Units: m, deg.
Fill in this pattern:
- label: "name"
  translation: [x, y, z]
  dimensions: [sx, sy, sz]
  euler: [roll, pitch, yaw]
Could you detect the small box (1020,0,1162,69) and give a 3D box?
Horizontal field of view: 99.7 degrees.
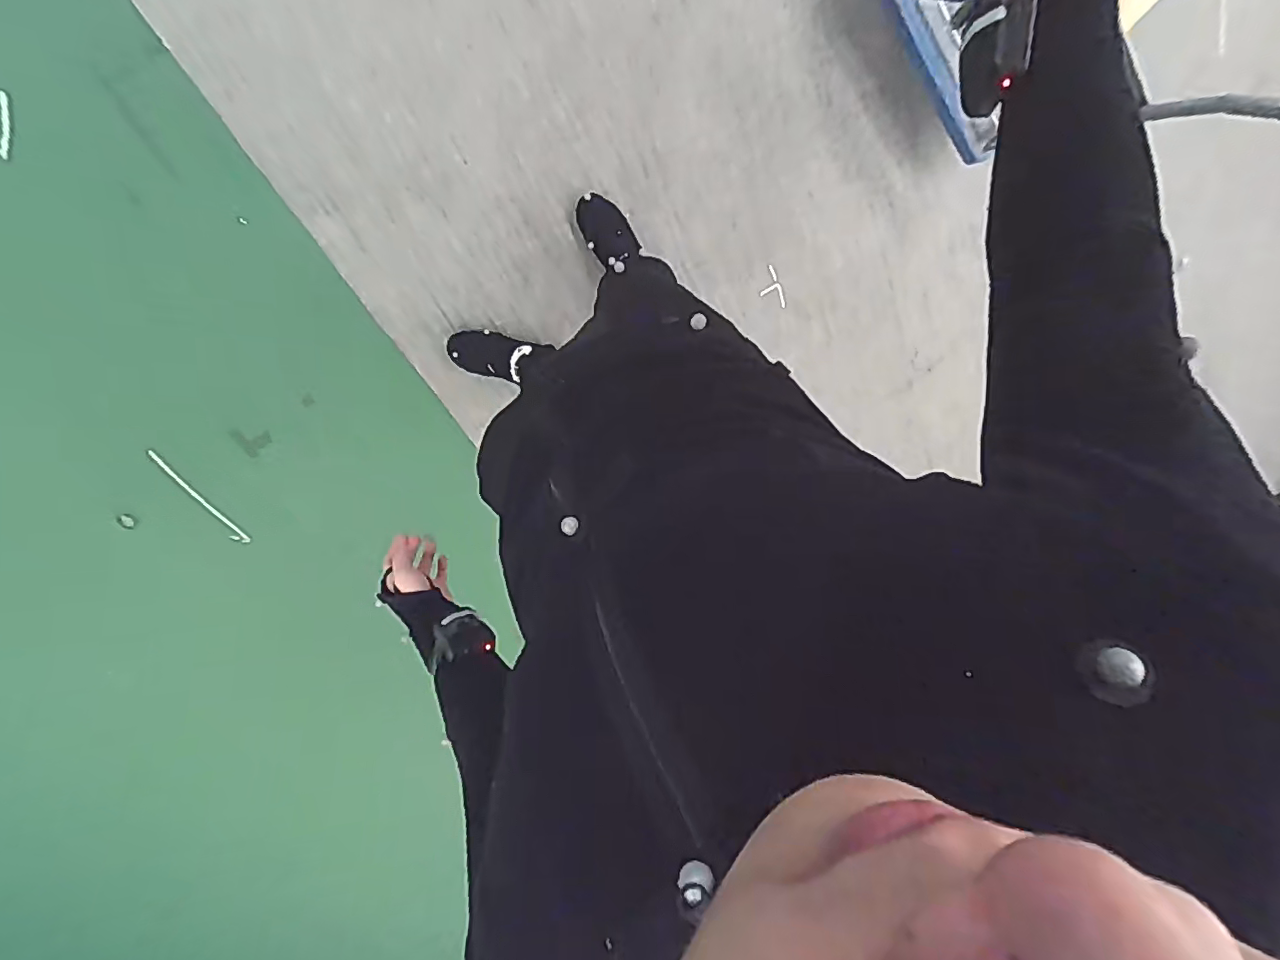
- label: "small box"
  translation: [1.002, -1.067, 1.198]
  dimensions: [0.179, 0.176, 0.168]
  euler: [-45, 118, 9]
